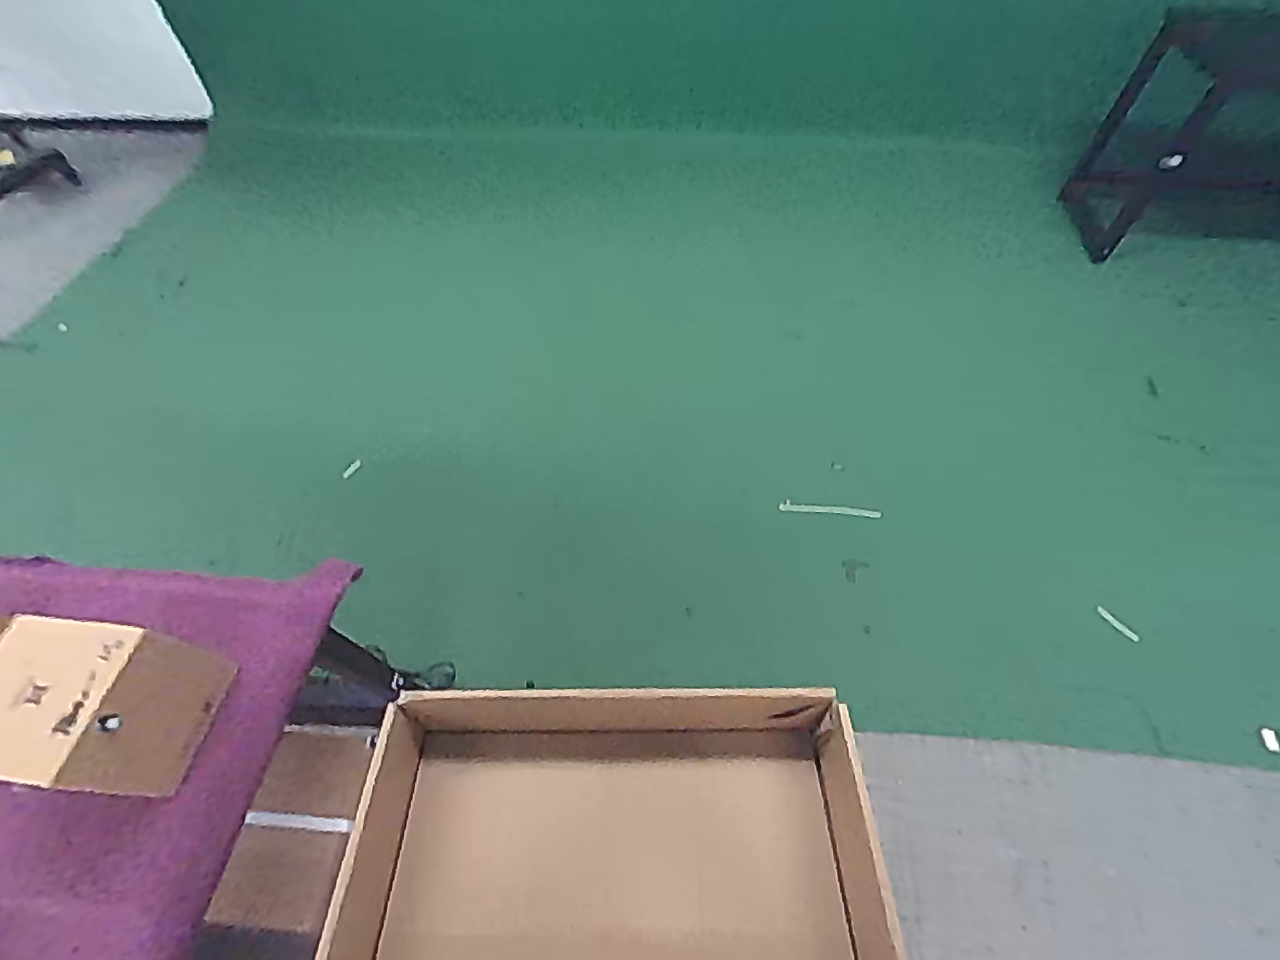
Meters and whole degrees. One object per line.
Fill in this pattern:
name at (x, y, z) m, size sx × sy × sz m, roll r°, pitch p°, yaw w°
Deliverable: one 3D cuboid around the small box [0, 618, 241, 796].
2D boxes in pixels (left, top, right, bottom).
small box at (-0.661, 0.284, 0.668) m, size 0.179 × 0.176 × 0.168 m, roll 4°, pitch 57°, yaw 7°
